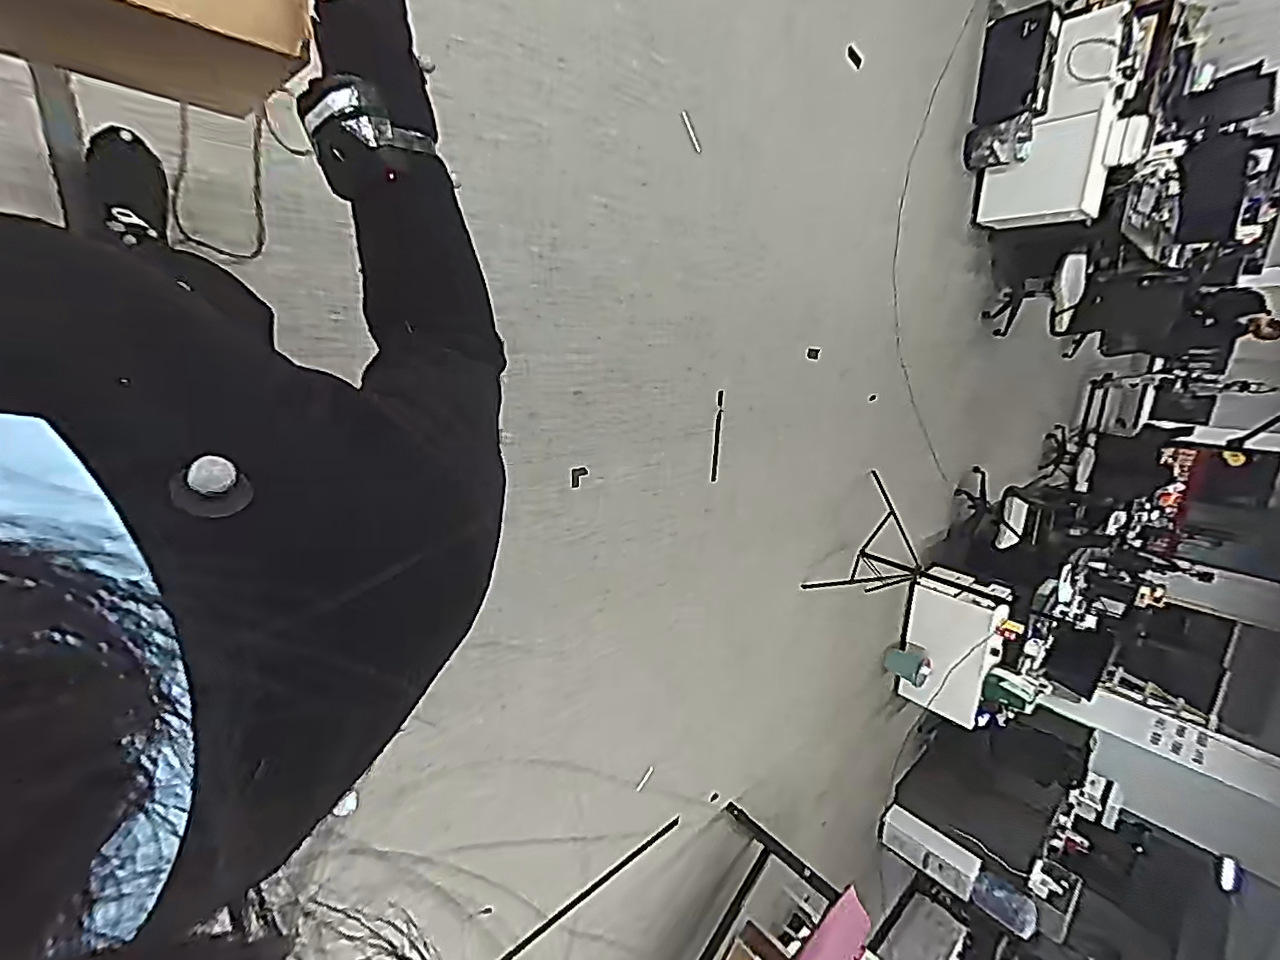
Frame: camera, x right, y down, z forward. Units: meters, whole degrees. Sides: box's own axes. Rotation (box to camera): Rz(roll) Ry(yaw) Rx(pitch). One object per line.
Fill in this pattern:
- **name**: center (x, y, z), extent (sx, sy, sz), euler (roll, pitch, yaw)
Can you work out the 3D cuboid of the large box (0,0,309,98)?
- **large box**: center (-0.466, -0.480, 0.317), extent (0.408, 0.320, 0.320), euler (-9, 115, -41)
